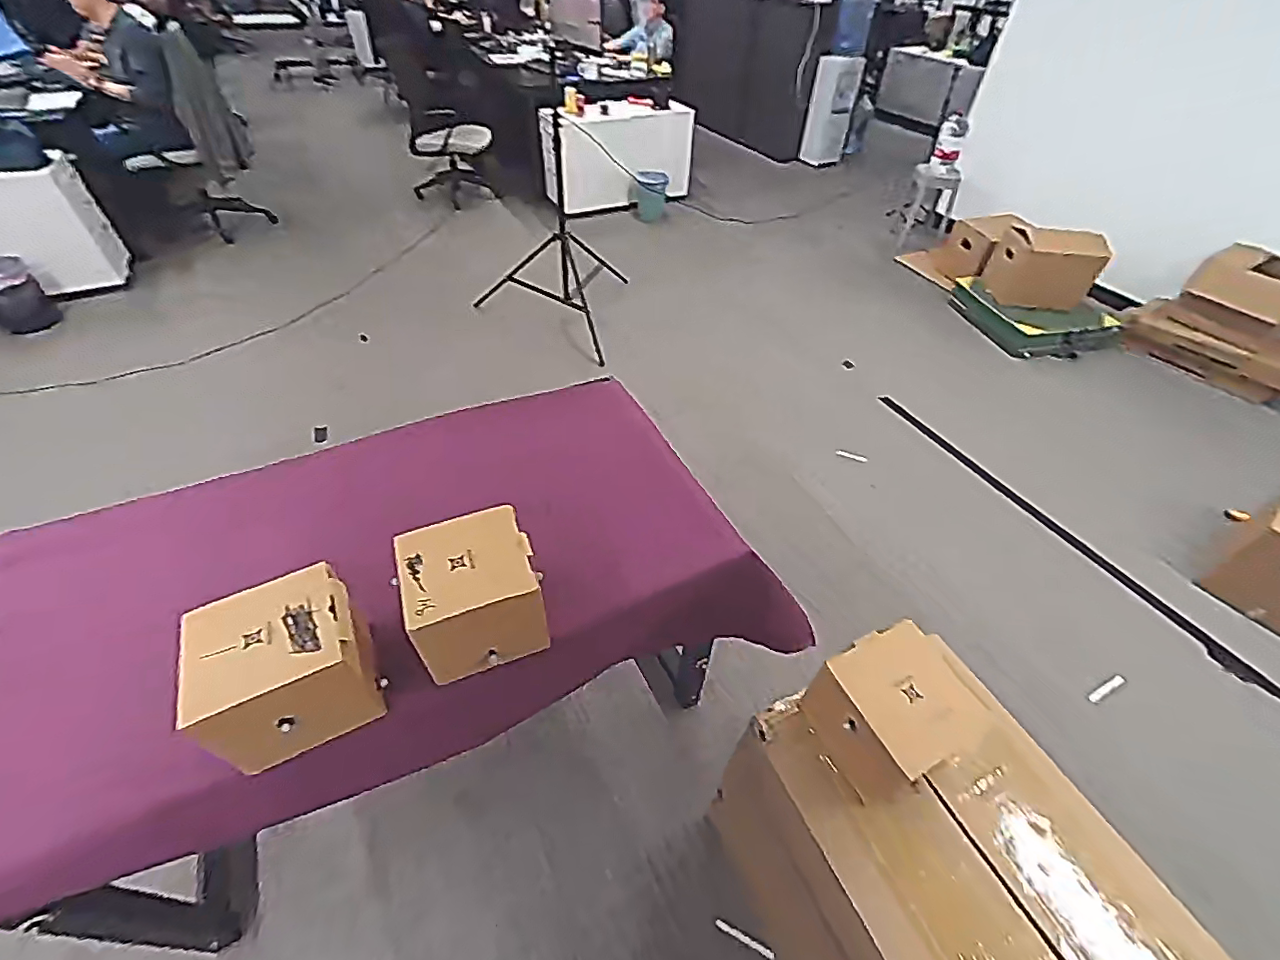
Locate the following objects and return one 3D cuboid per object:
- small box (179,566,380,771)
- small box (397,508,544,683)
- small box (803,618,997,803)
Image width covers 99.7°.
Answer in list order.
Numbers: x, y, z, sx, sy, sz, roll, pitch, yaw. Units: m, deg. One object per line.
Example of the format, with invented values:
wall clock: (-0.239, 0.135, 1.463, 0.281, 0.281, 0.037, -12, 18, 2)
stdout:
small box: (-0.470, 0.253, 0.729, 0.179, 0.176, 0.168, -21, 49, -20)
small box: (-0.248, 0.174, 0.817, 0.179, 0.176, 0.168, -15, 47, -18)
small box: (0.373, 0.347, 0.816, 0.168, 0.176, 0.179, -20, 51, -17)
